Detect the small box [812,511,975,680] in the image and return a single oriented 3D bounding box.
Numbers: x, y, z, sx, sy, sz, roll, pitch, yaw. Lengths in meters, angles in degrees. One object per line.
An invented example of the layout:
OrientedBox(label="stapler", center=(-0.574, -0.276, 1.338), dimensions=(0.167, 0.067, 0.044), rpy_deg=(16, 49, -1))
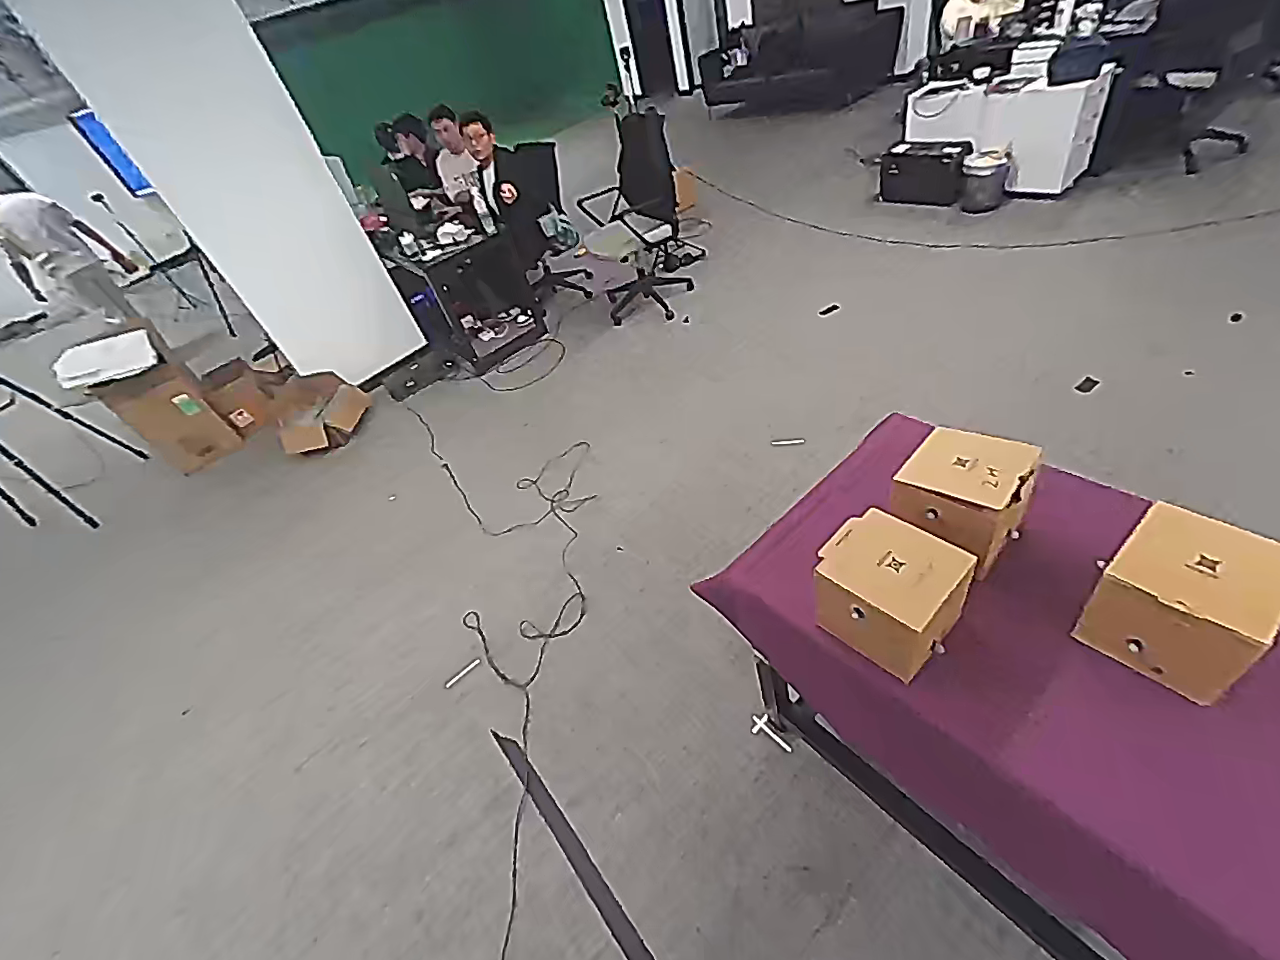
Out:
OrientedBox(label="small box", center=(0.404, 0.189, 0.885), dimensions=(0.168, 0.176, 0.179), rpy_deg=(-39, 46, -21))

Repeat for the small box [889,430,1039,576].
OrientedBox(label="small box", center=(0.572, 0.043, 0.980), dimensions=(0.168, 0.176, 0.179), rpy_deg=(-41, 47, -22))
